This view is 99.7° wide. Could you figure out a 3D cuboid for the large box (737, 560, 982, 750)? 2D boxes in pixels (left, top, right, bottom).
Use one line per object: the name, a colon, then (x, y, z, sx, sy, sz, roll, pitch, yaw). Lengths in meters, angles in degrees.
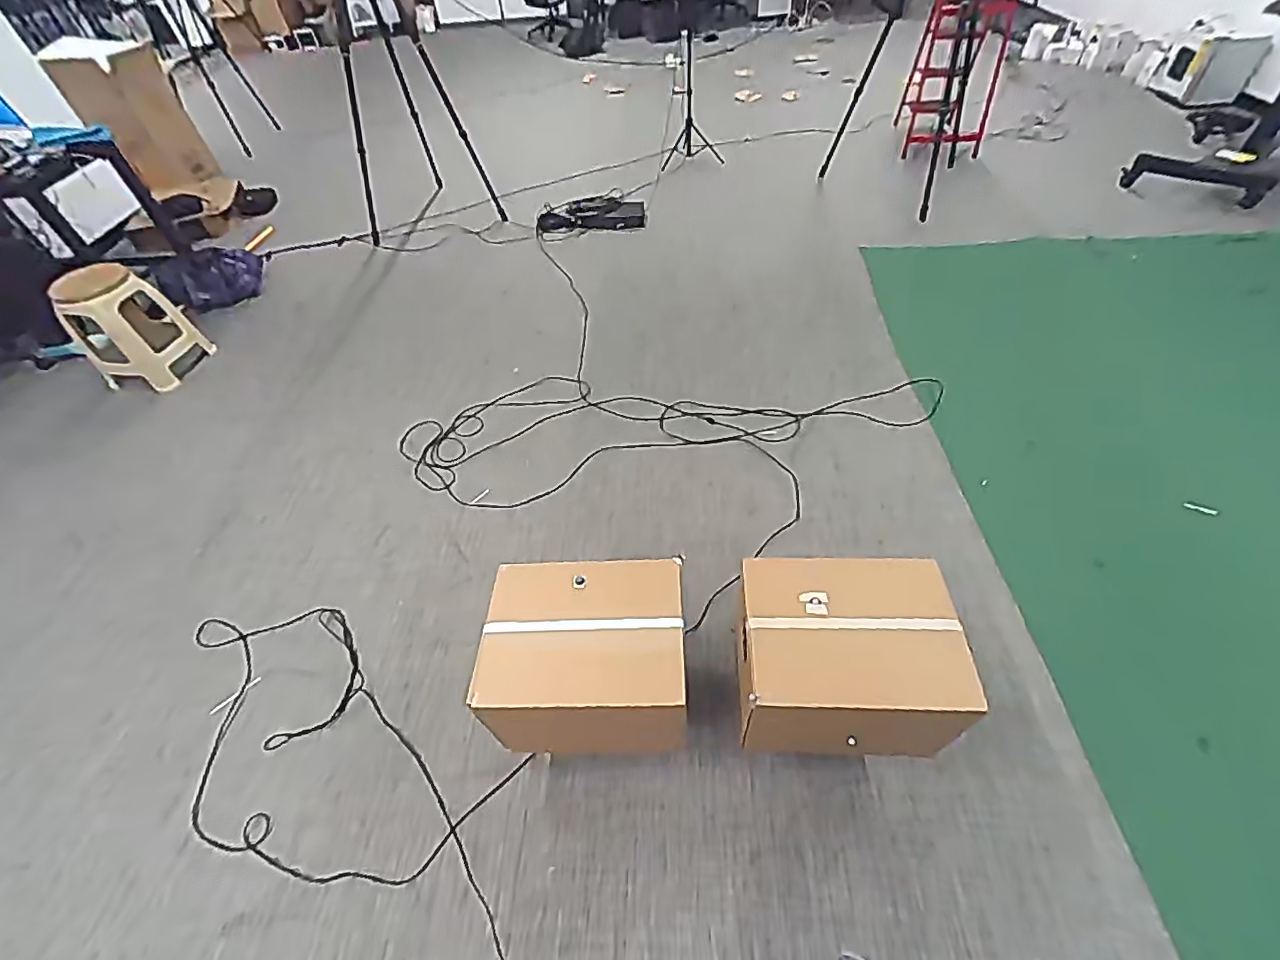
large box: (0.431, 0.386, 1.181, 0.408, 0.320, 0.320, -1, 49, 6)
